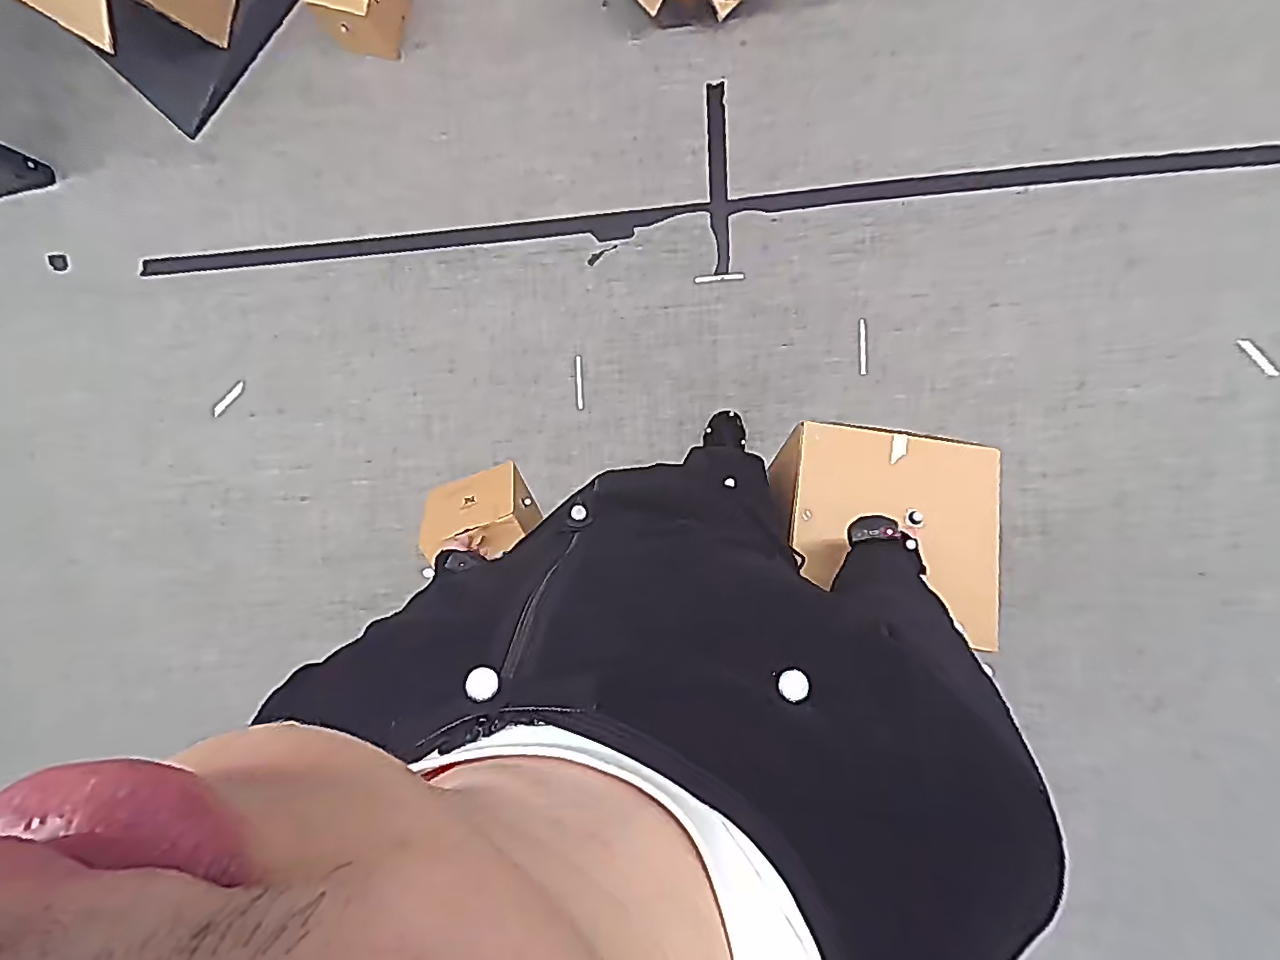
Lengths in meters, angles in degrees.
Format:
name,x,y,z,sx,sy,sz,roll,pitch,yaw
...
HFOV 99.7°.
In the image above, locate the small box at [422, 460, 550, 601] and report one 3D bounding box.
name,x,y,z,sx,sy,sz,roll,pitch,yaw
small box,-0.272,0.098,0.992,0.168,0.179,0.176,-20,125,1
